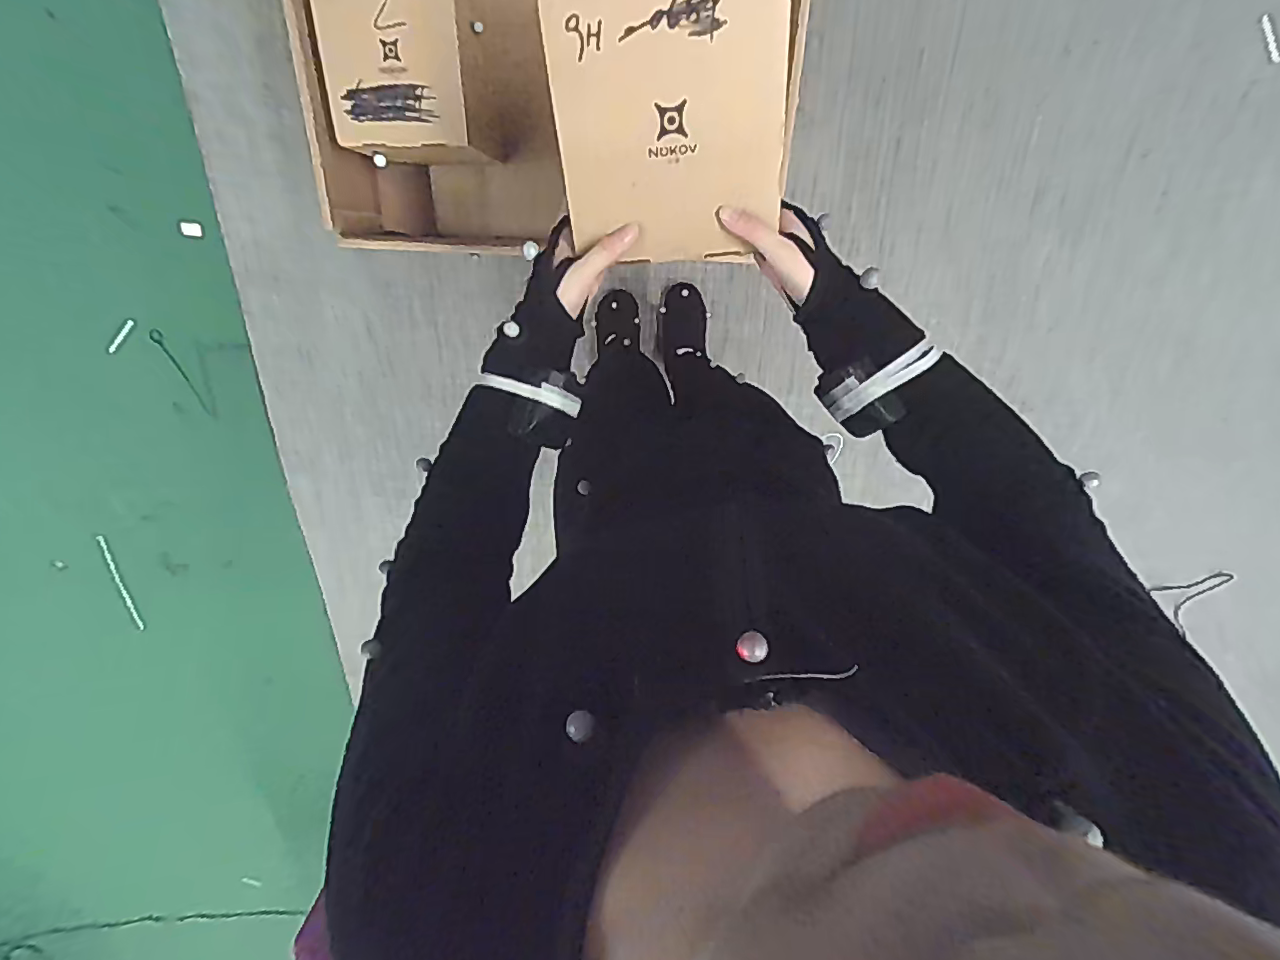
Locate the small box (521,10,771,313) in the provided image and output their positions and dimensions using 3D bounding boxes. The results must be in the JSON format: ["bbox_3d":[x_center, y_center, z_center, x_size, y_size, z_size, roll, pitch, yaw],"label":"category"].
[{"bbox_3d":[0.018,-0.265,0.462,0.168,0.176,0.179,-7,125,7],"label":"small box"}]
